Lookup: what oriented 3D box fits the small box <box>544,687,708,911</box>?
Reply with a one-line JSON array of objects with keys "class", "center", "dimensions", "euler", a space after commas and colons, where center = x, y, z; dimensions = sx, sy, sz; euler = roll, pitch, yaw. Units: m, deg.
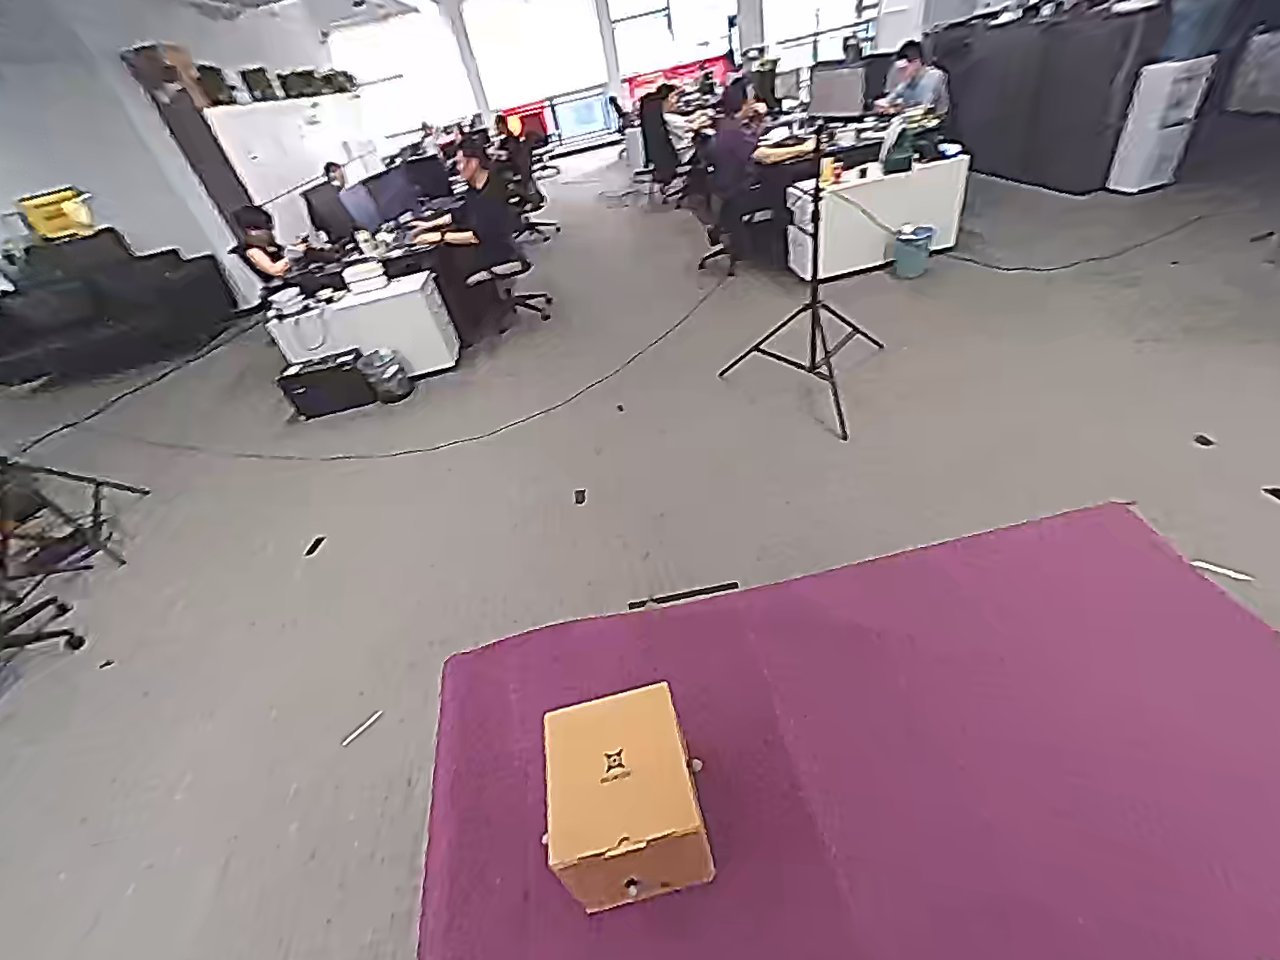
[{"class": "small box", "center": [-0.018, 0.398, 0.681], "dimensions": [0.168, 0.176, 0.179], "euler": [-14, 39, -2]}]
